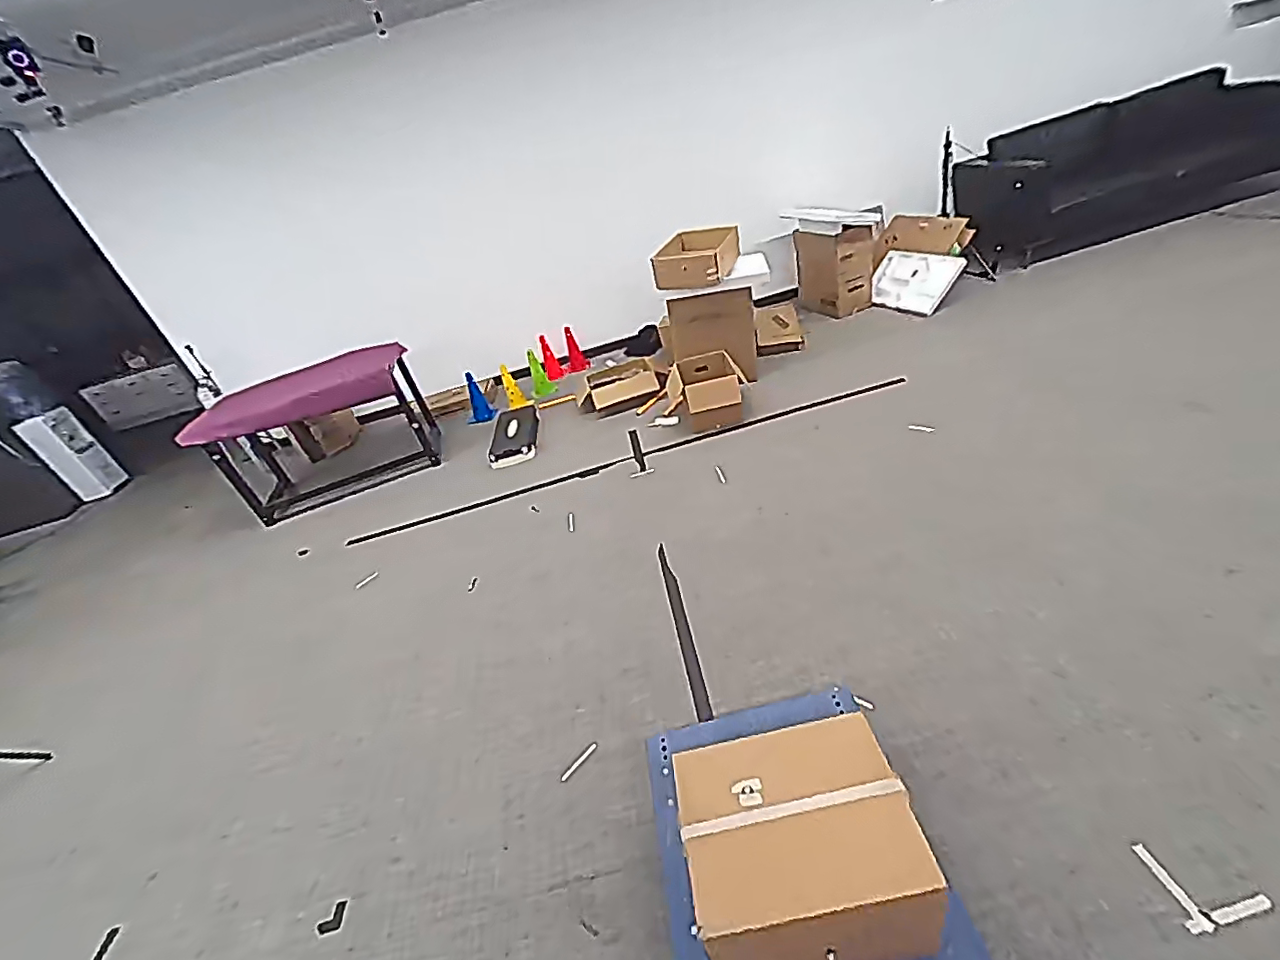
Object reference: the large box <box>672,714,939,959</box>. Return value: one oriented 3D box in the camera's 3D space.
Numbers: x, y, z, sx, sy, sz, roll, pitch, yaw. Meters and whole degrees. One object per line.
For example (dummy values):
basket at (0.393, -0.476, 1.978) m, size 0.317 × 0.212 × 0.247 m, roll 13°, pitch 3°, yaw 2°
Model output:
large box at (0.310, 0.733, 1.072) m, size 0.408 × 0.320 × 0.320 m, roll -16°, pitch 31°, yaw 3°
